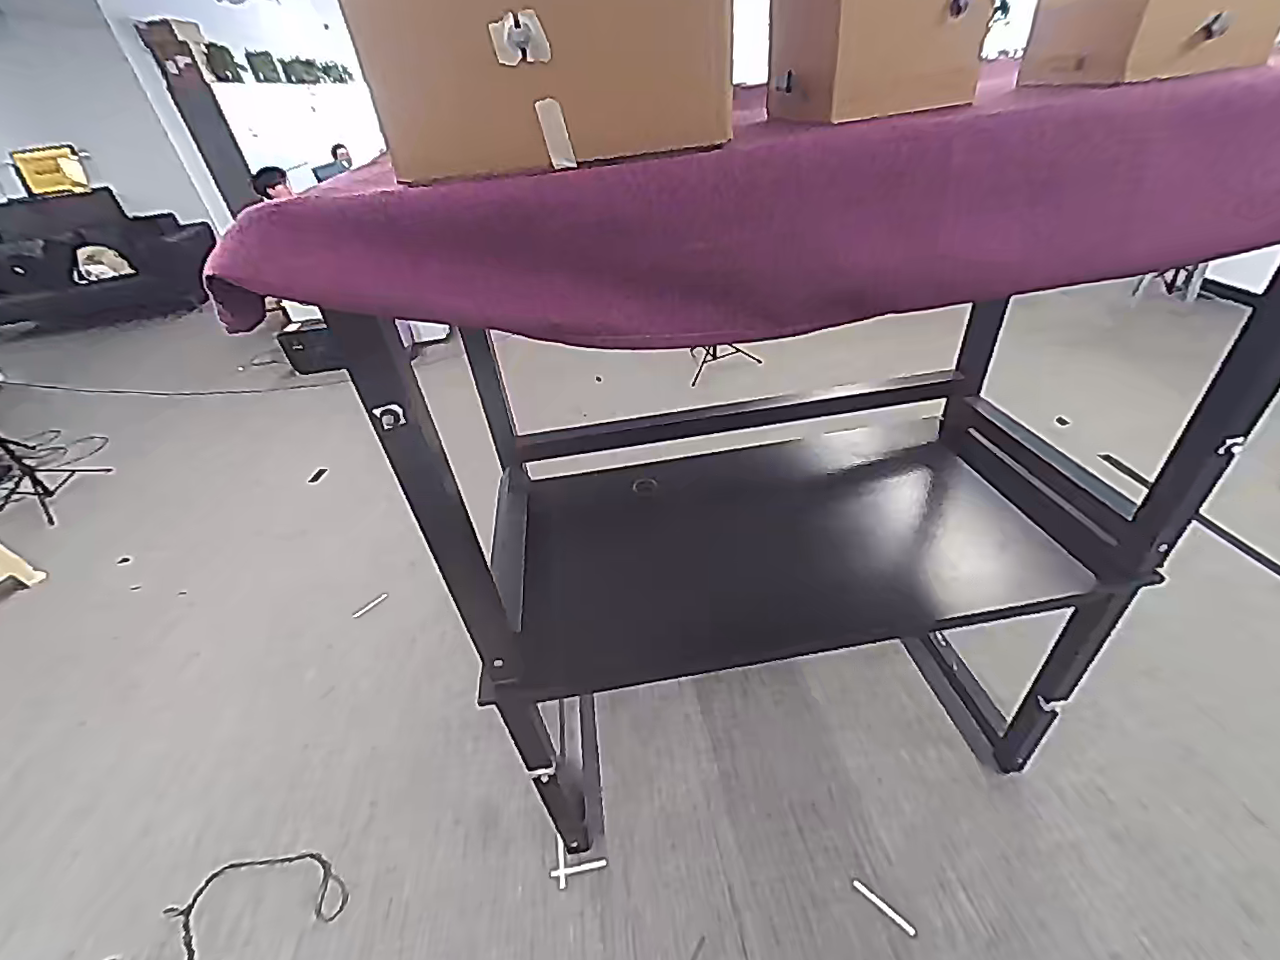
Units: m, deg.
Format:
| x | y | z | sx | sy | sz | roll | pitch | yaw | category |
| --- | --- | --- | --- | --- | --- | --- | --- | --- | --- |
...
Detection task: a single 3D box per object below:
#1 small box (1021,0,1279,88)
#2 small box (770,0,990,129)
| x | y | z | sx | sy | sz | roll | pitch | yaw | category |
| --- | --- | --- | --- | --- | --- | --- | --- | --- | --- |
| 0.577 | -0.549 | 0.600 | 0.179 | 0.176 | 0.168 | -9 | 35 | -3 | small box |
| 0.257 | -0.504 | 0.600 | 0.179 | 0.176 | 0.168 | -13 | 36 | -7 | small box |
